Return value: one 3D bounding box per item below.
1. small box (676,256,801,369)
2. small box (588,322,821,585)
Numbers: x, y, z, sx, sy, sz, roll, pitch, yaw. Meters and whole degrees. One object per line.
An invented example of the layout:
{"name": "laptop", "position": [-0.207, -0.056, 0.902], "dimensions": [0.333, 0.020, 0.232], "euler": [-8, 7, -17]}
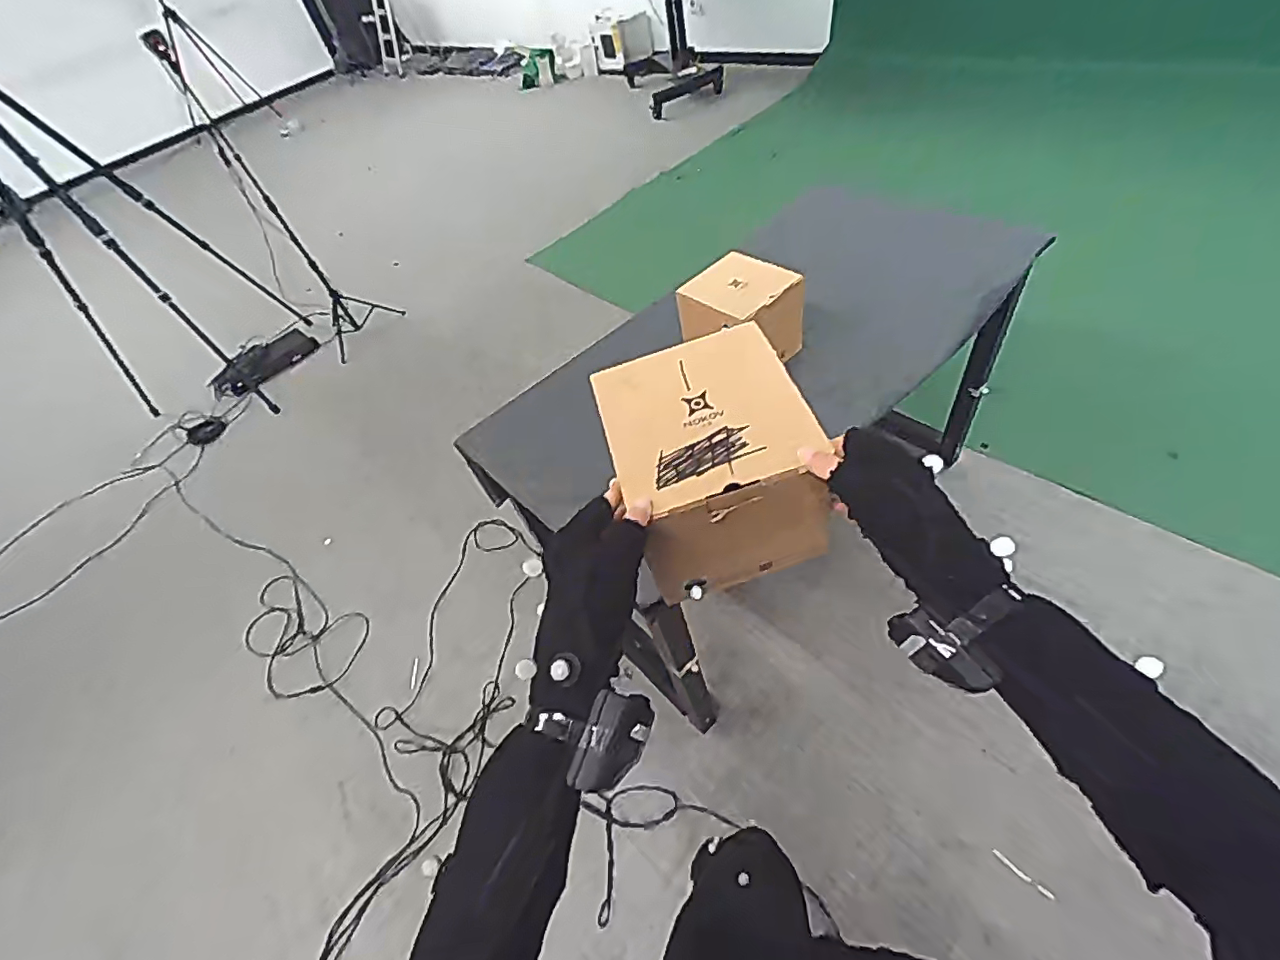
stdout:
{"name": "small box", "position": [0.195, -0.310, 1.072], "dimensions": [0.168, 0.176, 0.179], "euler": [-40, 53, -18]}
{"name": "small box", "position": [0.064, -0.015, 0.530], "dimensions": [0.168, 0.176, 0.179], "euler": [-19, 53, 2]}
